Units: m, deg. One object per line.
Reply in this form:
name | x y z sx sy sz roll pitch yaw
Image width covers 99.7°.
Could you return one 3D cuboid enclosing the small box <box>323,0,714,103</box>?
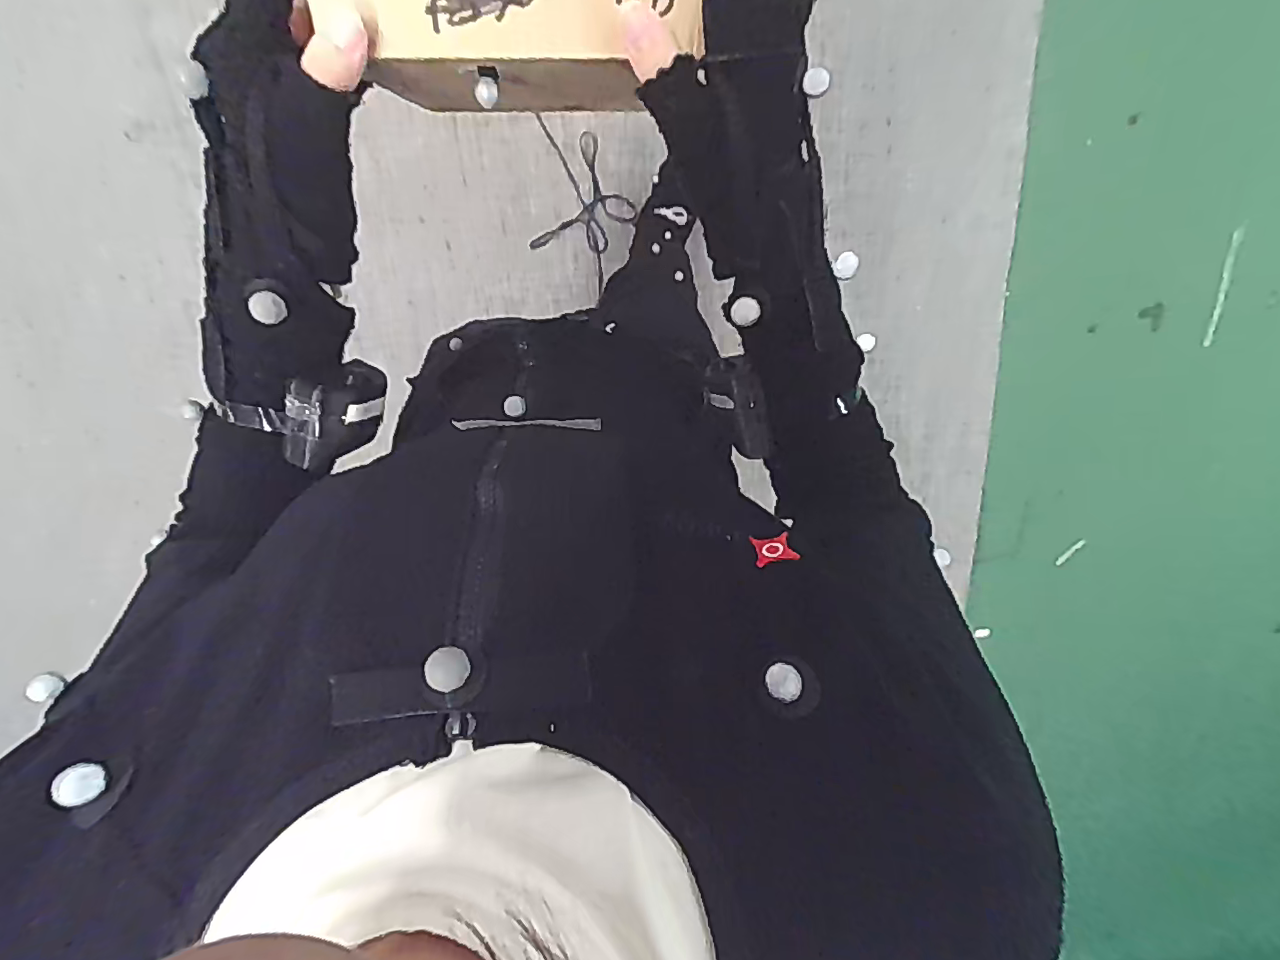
small box | -0.056 -0.305 0.263 0.168 0.176 0.179 -2 118 -4
